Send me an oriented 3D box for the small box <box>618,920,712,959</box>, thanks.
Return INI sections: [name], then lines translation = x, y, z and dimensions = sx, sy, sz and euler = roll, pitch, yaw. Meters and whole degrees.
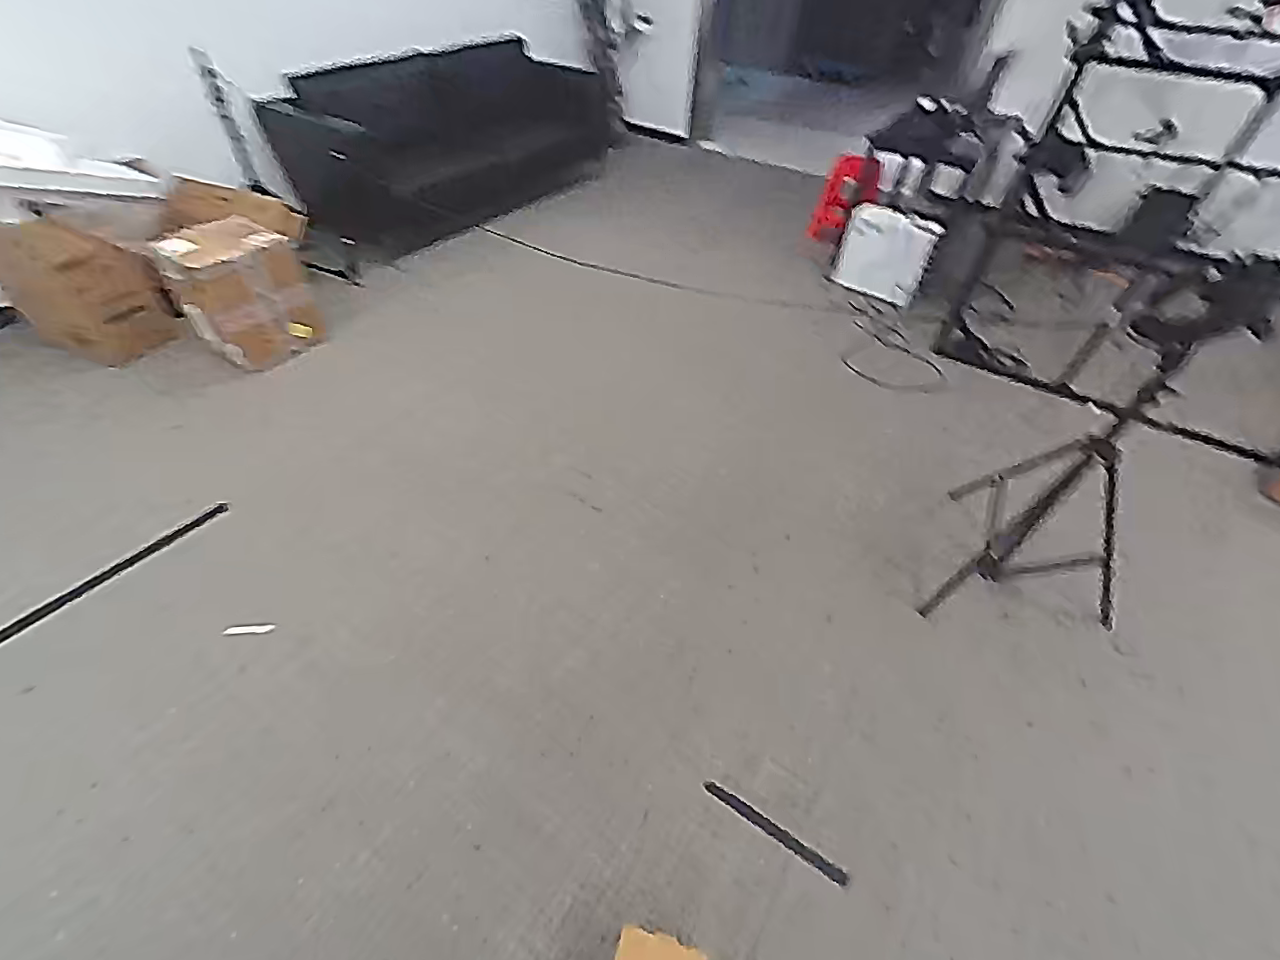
[small box]
translation = 0.028, 0.961, 1.002
dimensions = 0.168, 0.176, 0.179
euler = 12, 47, 11
